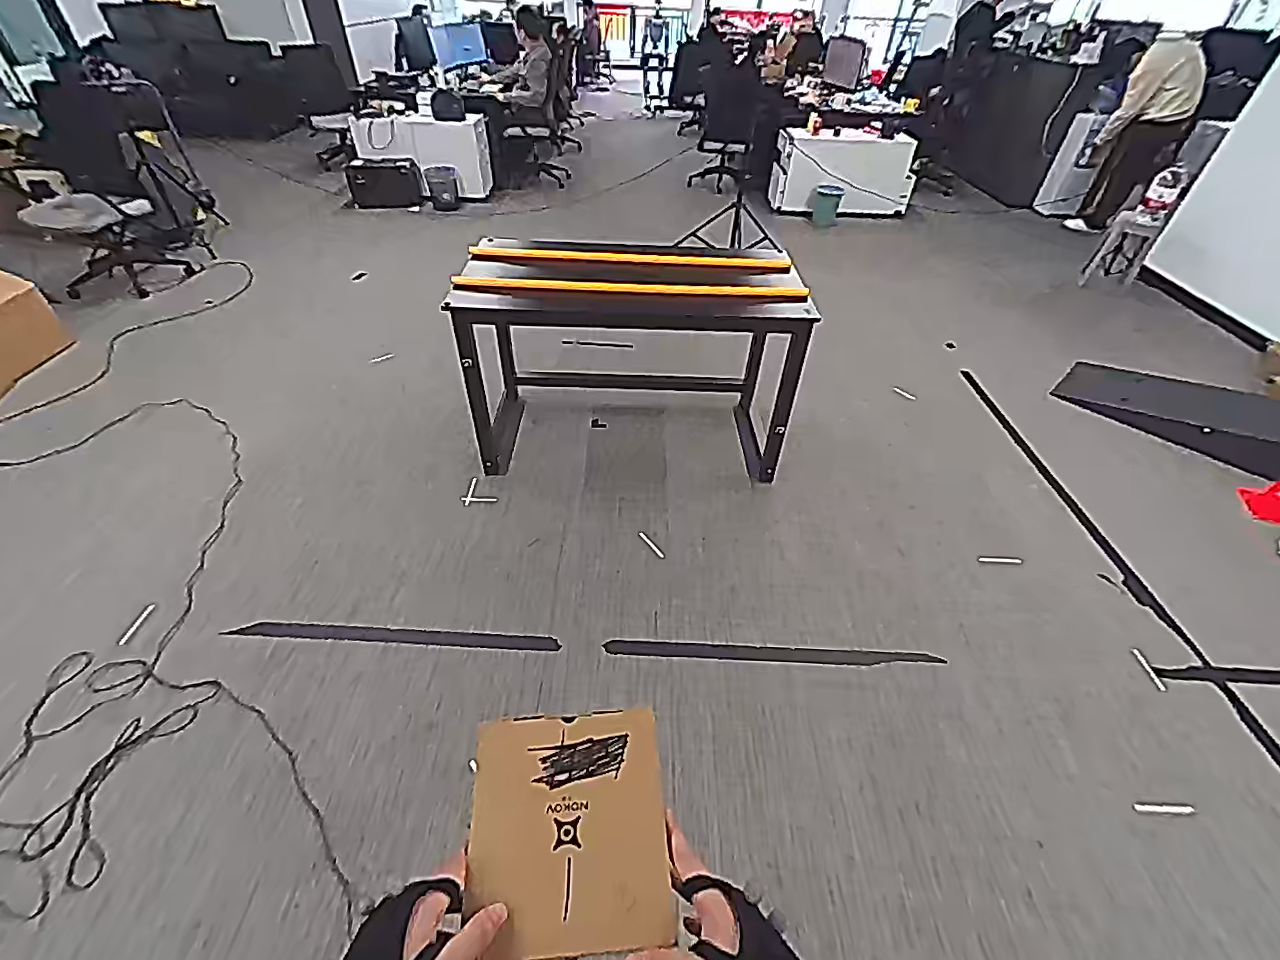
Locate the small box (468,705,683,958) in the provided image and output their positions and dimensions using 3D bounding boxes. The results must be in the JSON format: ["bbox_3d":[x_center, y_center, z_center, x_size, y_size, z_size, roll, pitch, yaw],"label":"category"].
[{"bbox_3d":[-0.055,0.338,0.521,0.168,0.176,0.179,-4,50,-3],"label":"small box"}]
